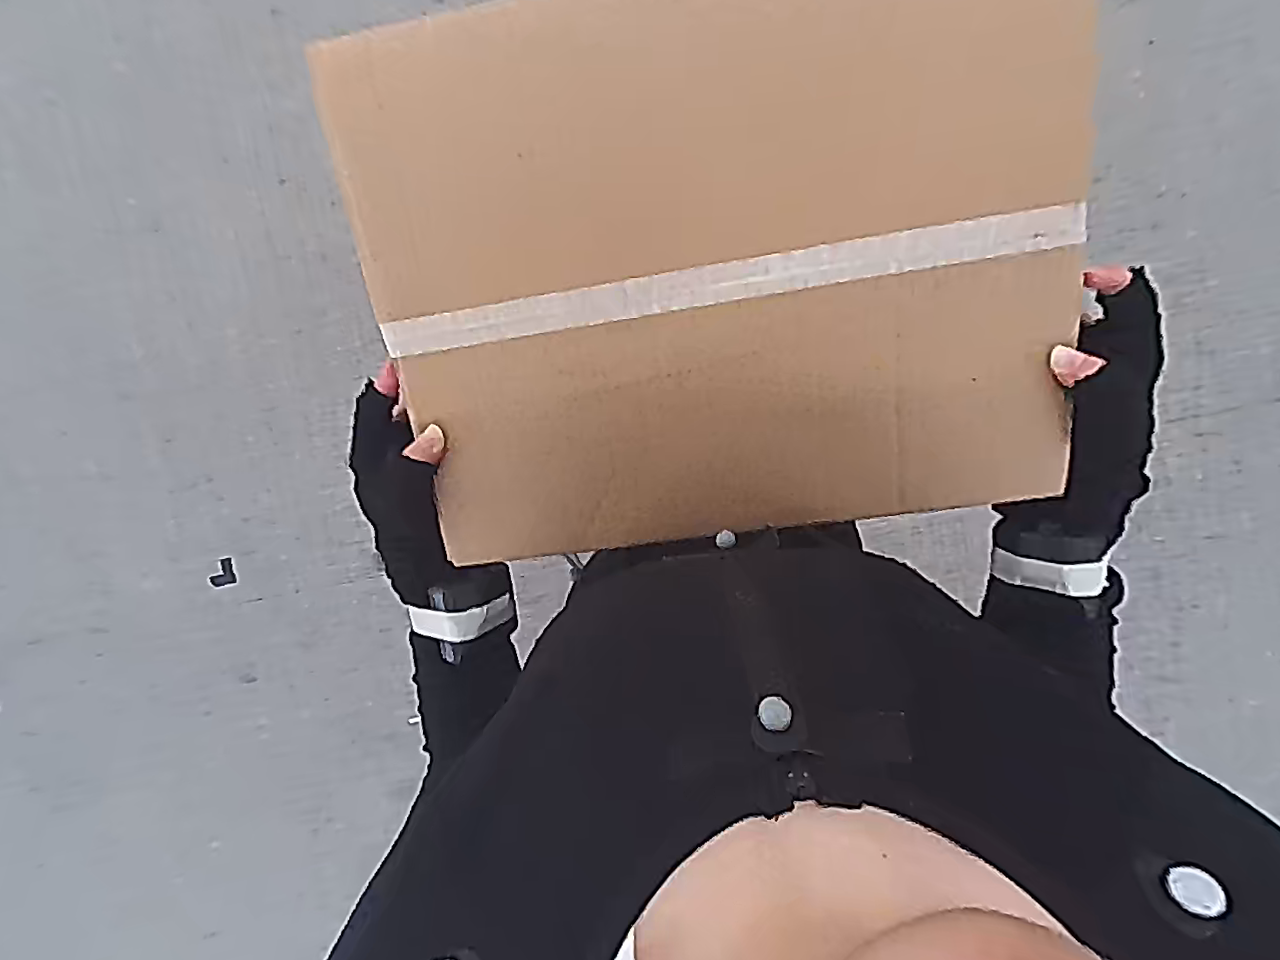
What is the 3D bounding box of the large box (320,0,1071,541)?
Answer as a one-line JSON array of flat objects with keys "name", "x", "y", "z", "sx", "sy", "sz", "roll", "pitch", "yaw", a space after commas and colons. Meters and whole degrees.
[{"name": "large box", "x": 0.045, "y": -0.172, "z": 0.464, "sx": 0.408, "sy": 0.320, "sz": 0.320, "roll": -8, "pitch": 108, "yaw": 5}]
